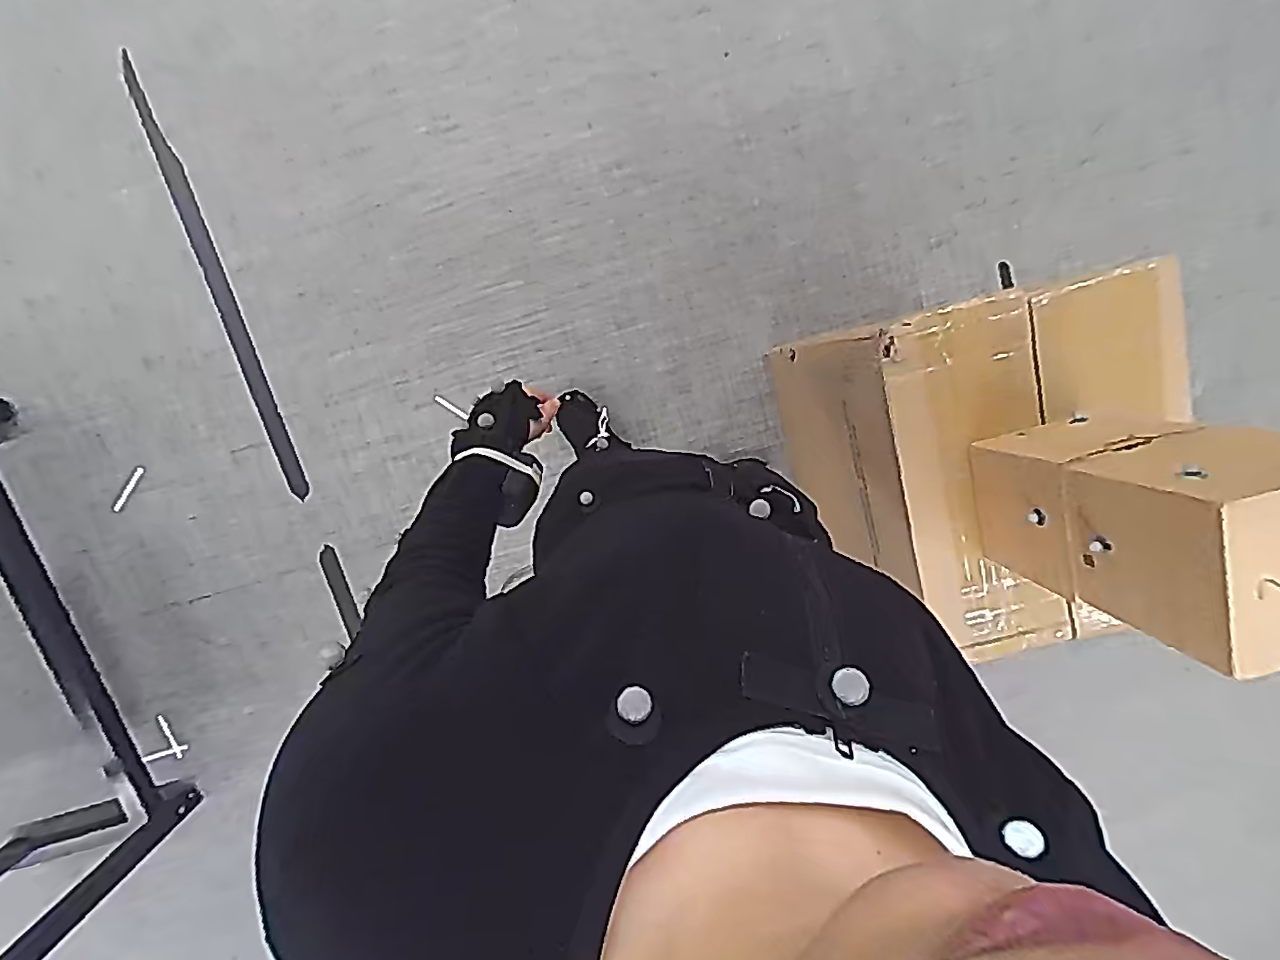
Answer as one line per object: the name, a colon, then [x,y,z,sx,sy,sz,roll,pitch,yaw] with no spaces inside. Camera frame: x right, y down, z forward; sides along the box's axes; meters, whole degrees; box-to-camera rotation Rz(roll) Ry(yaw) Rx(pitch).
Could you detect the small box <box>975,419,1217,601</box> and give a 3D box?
small box: [0.557,0.024,0.683,0.168,0.176,0.179,-15,101,2]
